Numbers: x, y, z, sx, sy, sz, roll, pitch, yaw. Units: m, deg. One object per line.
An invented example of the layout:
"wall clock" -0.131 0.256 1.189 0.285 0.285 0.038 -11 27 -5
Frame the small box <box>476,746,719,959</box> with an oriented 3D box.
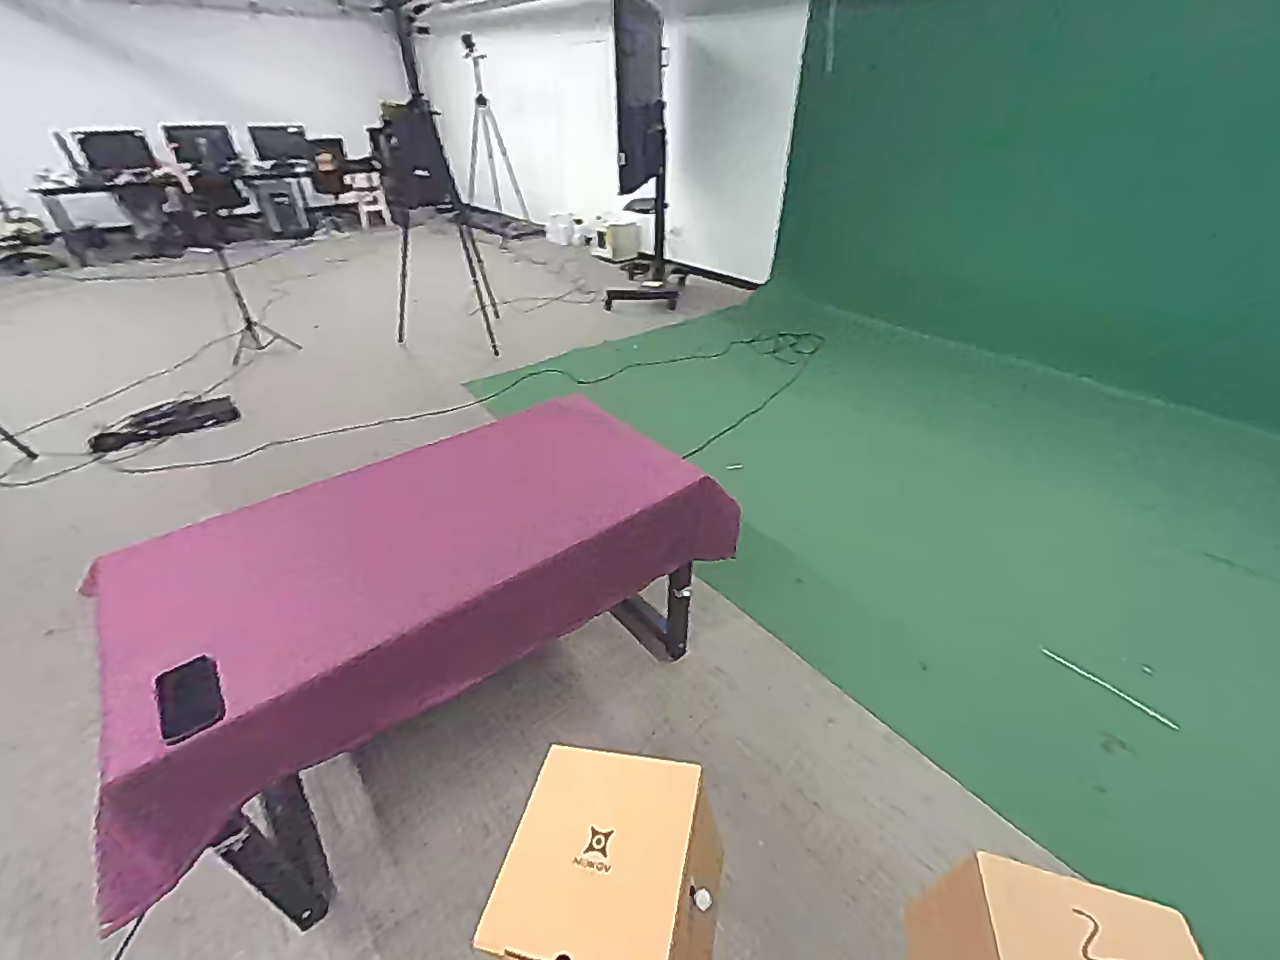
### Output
"small box" -0.022 0.395 0.522 0.168 0.176 0.179 -2 34 19
